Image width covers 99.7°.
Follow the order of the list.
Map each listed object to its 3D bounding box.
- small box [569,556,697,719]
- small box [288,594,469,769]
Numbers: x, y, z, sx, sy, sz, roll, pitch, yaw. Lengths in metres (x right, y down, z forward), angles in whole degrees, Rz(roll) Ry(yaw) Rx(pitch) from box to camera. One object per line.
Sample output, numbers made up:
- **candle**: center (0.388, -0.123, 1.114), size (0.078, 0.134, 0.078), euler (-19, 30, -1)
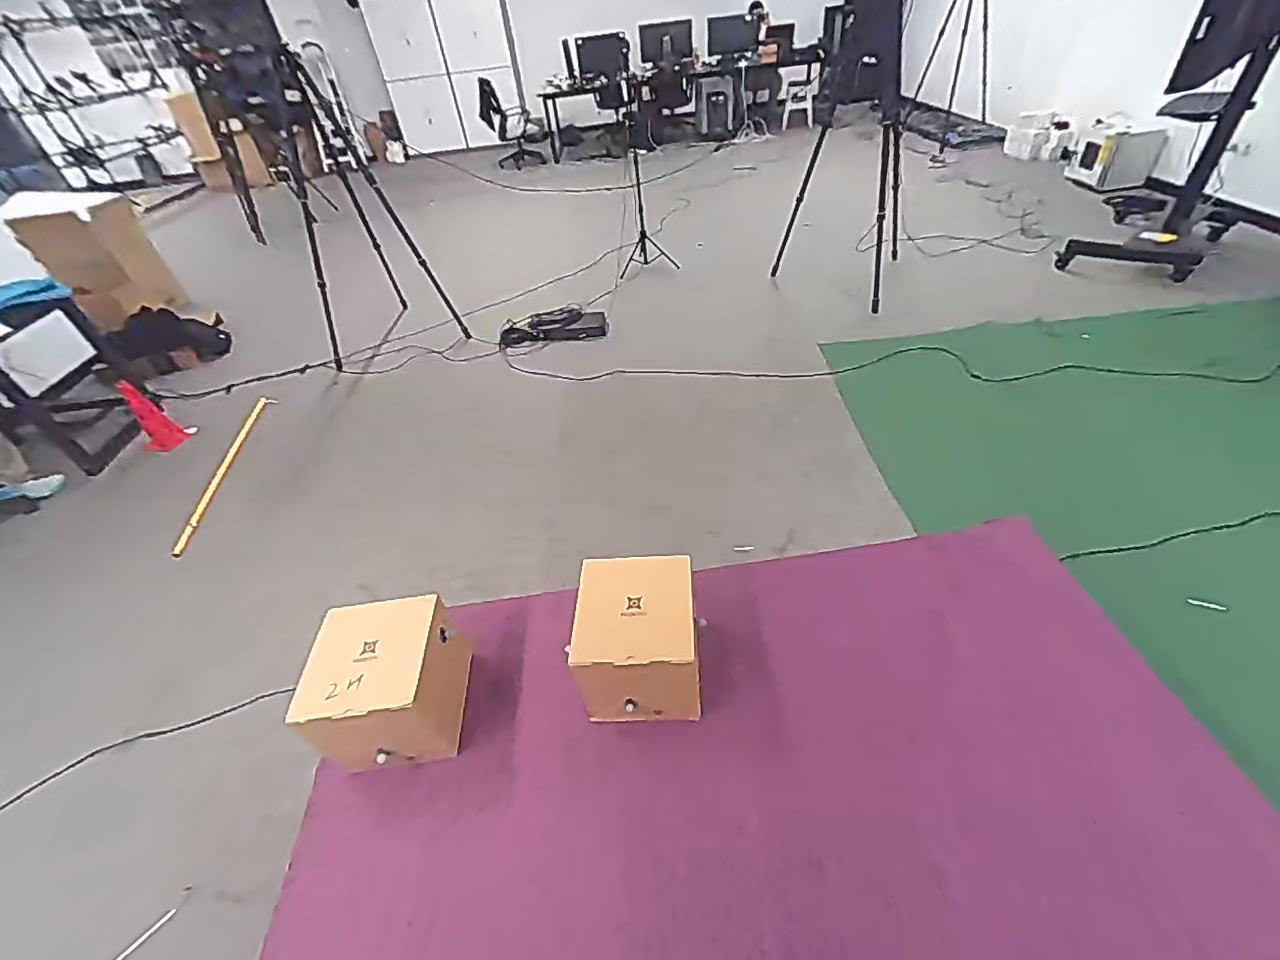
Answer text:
- **small box**: center (-0.001, 0.235, 0.810), size (0.168, 0.176, 0.179), euler (-3, 43, 6)
- **small box**: center (-0.364, 0.296, 0.796), size (0.168, 0.176, 0.179), euler (-8, 42, 1)
